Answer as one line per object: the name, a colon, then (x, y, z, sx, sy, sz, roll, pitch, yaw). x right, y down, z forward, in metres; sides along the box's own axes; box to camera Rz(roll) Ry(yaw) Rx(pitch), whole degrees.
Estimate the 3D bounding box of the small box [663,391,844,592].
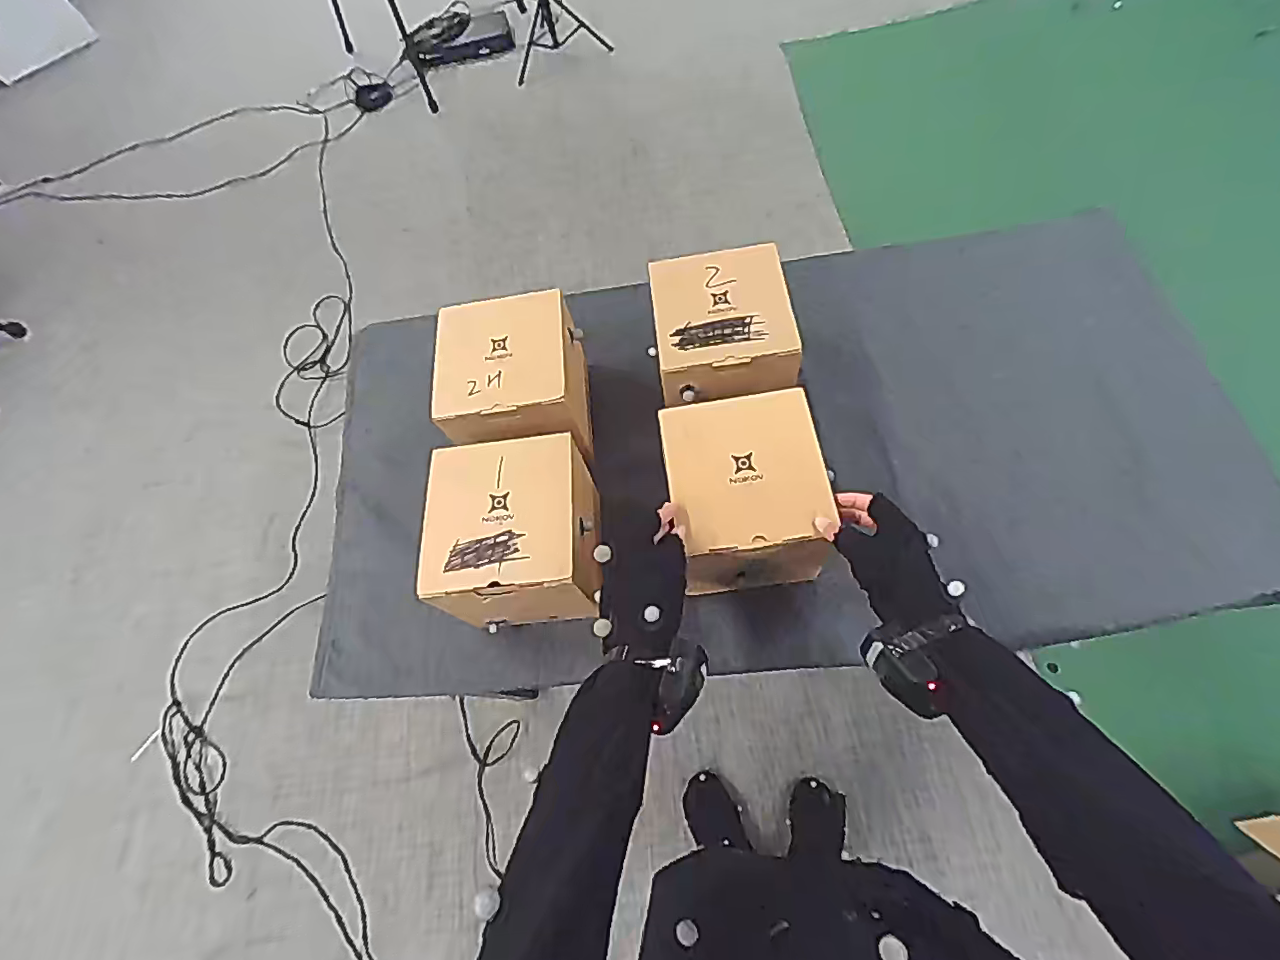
small box: (0.121, 0.021, 0.644, 0.168, 0.176, 0.179, -8, 65, 4)
